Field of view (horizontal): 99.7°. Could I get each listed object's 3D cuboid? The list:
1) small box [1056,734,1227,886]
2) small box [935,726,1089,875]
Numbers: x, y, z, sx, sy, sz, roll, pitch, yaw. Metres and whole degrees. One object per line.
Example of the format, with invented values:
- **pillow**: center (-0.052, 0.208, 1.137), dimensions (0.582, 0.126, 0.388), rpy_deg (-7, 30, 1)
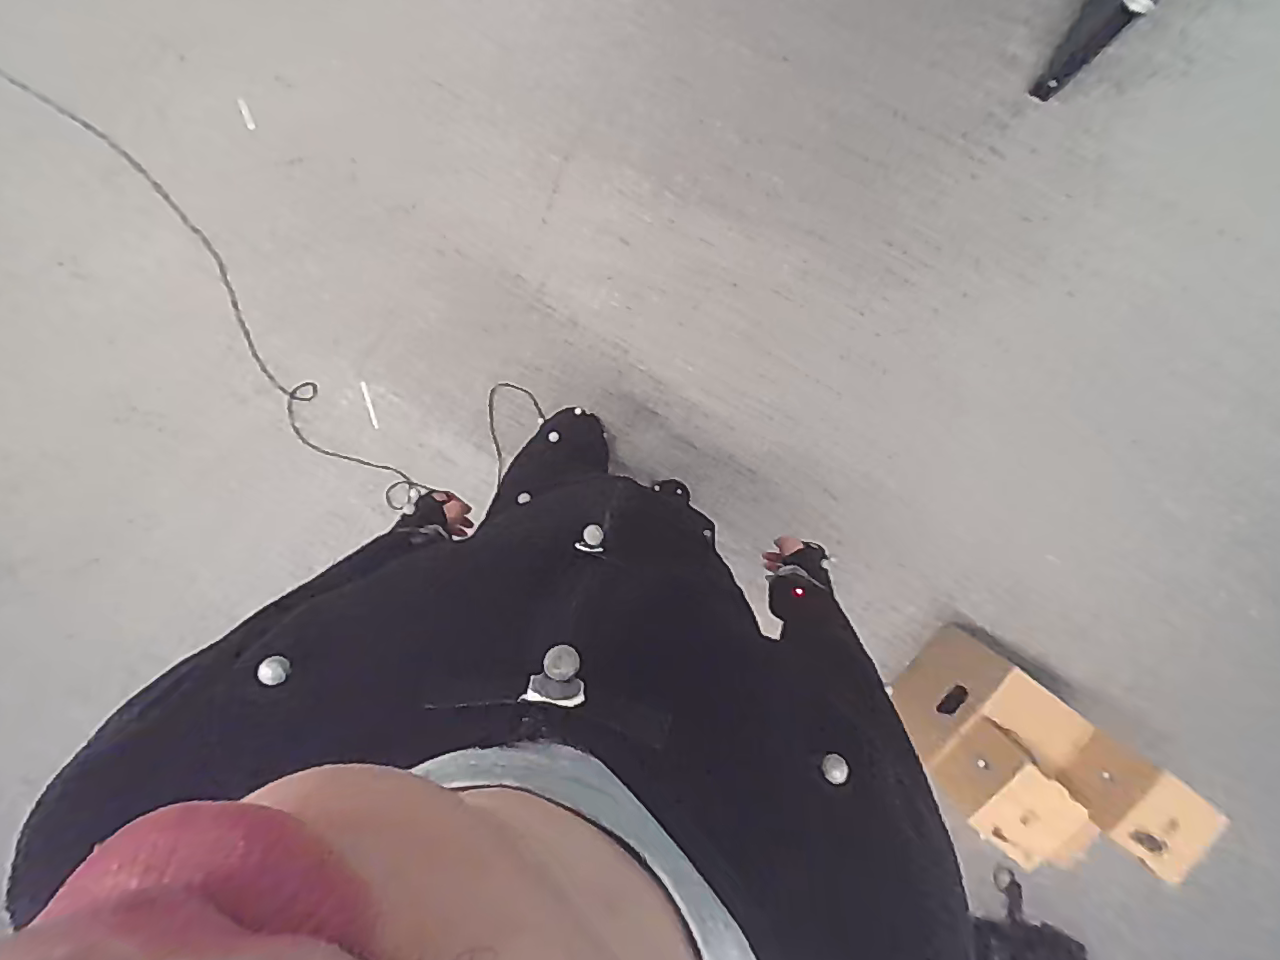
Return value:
- **small box**: center (1.039, 0.685, 1.143), dimensions (0.168, 0.176, 0.179), rpy_deg (39, 91, -1)
- **small box**: center (0.777, 0.670, 1.152), dimensions (0.168, 0.176, 0.179), rpy_deg (39, 96, -1)
